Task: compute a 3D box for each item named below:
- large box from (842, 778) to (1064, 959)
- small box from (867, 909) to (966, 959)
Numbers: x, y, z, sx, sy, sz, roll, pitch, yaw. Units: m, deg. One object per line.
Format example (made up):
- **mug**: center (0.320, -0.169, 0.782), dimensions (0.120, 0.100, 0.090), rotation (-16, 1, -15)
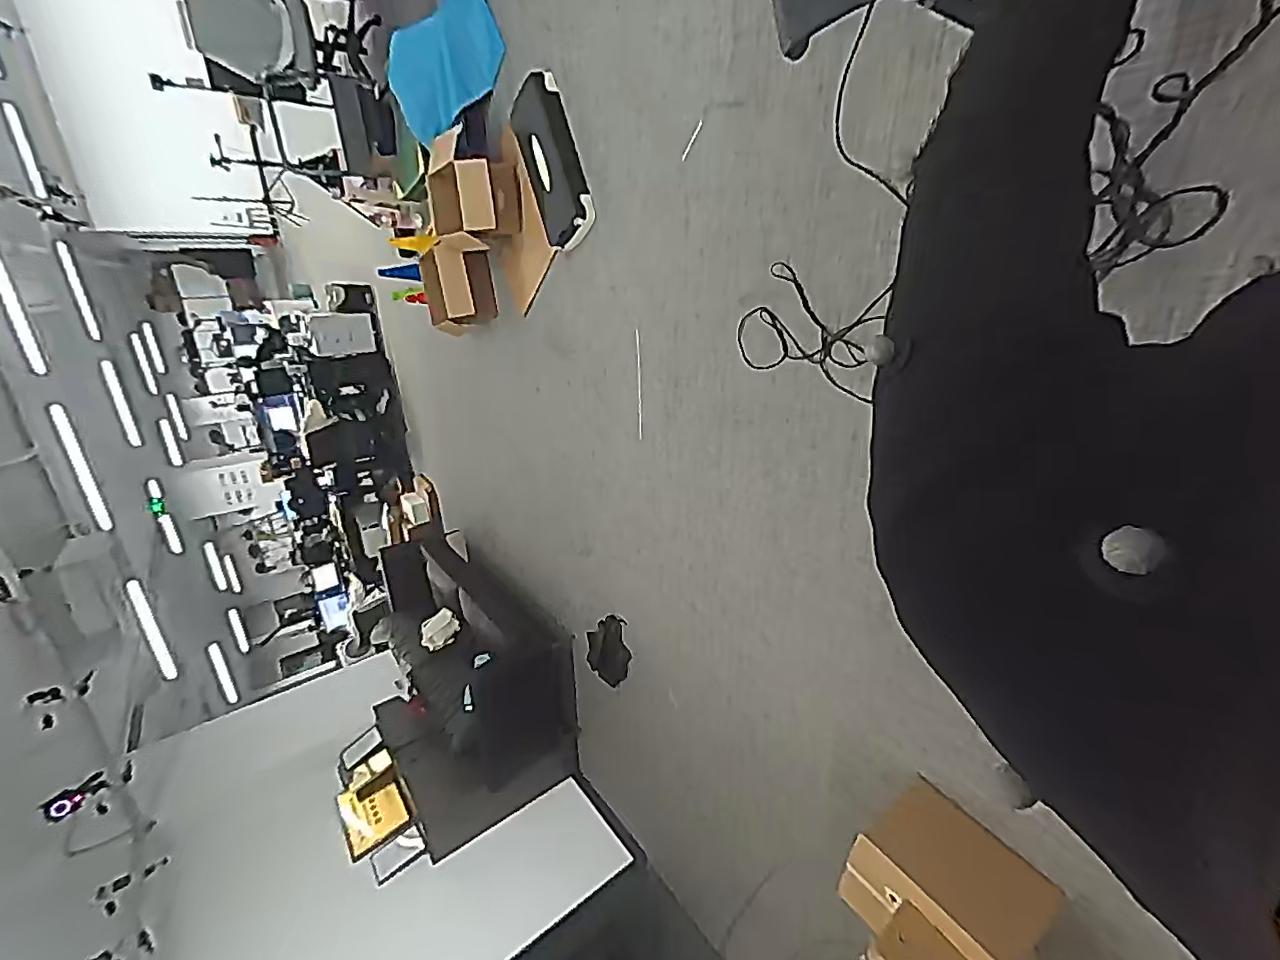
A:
- **large box**: center (0.854, 1.157, 1.513), dimensions (0.408, 0.320, 0.320), rotation (34, 129, 45)
- **small box**: center (0.686, 1.226, 1.347), dimensions (0.179, 0.176, 0.168), rotation (33, 131, 43)
